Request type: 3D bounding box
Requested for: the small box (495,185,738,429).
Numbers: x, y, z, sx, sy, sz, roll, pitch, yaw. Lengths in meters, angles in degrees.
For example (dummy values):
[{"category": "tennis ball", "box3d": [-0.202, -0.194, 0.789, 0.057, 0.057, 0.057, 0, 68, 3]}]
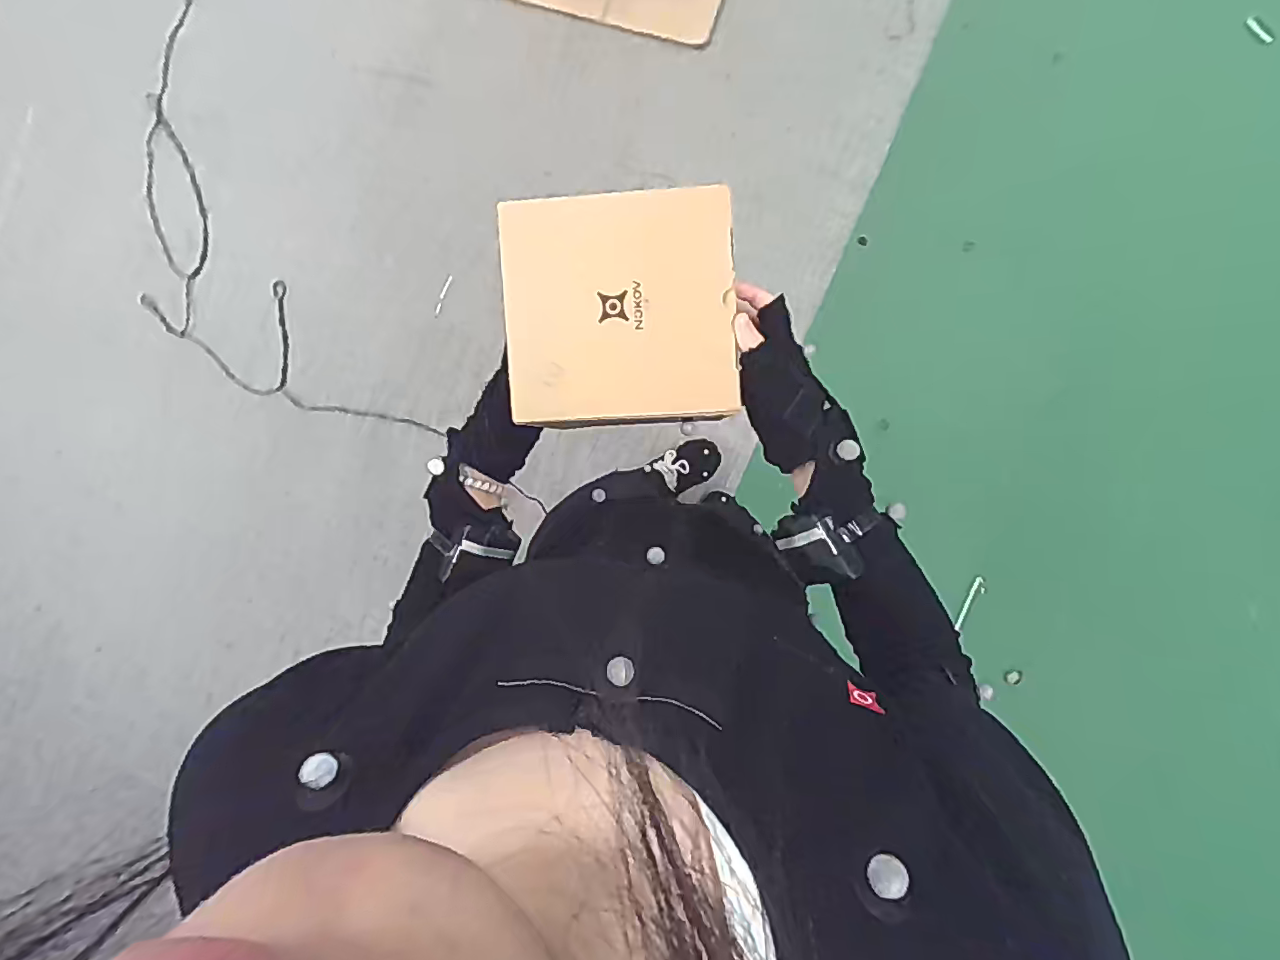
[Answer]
[{"category": "small box", "box3d": [-0.014, -0.134, 0.482, 0.179, 0.176, 0.168, -4, 94, 2]}]
